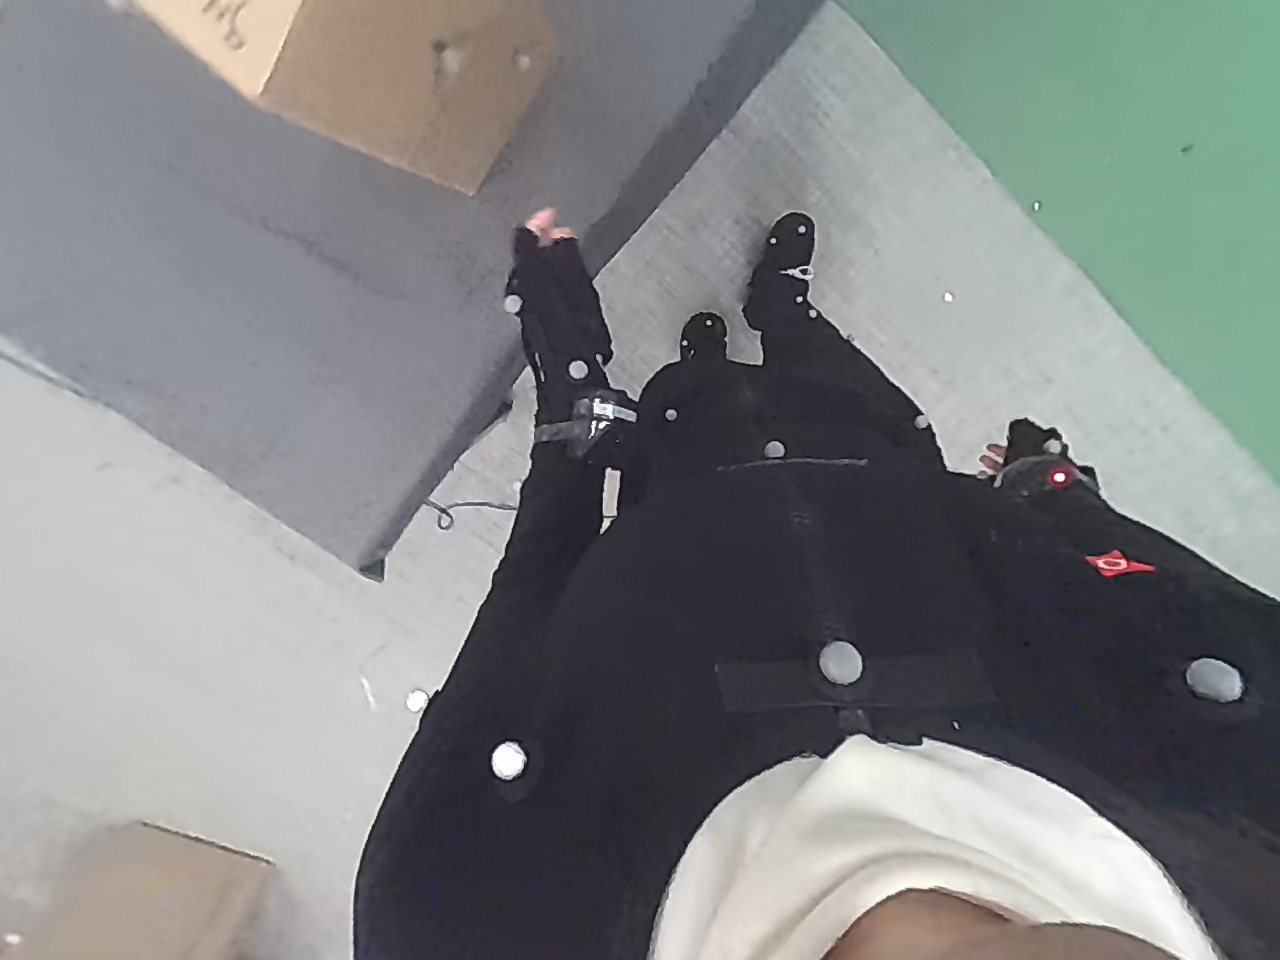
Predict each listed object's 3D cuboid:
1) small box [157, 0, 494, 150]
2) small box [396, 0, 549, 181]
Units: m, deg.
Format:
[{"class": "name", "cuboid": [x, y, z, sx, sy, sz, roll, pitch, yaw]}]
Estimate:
[{"class": "small box", "cuboid": [-0.205, -0.348, 0.329, 0.168, 0.176, 0.179, 40, 107, -10]}, {"class": "small box", "cuboid": [-0.199, -0.406, 0.482, 0.168, 0.176, 0.179, 37, 110, -9]}]
